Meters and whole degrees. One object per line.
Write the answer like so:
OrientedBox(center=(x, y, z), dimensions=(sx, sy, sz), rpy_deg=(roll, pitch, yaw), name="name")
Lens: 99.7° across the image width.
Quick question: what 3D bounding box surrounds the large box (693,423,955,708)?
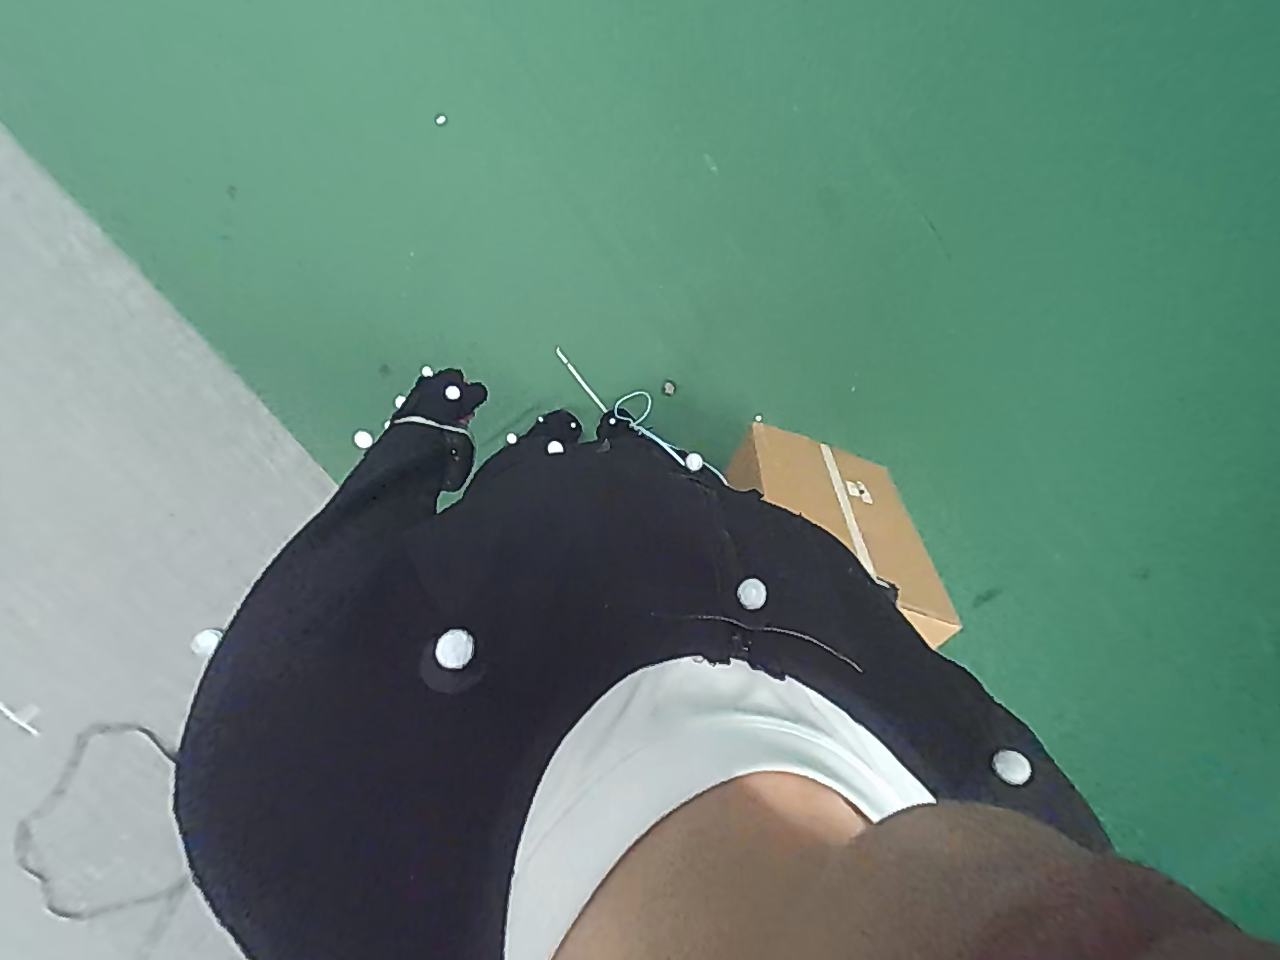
OrientedBox(center=(0.302, 0.158, 1.044), dimensions=(0.320, 0.408, 0.320), rpy_deg=(18, 127, -10), name="large box")
